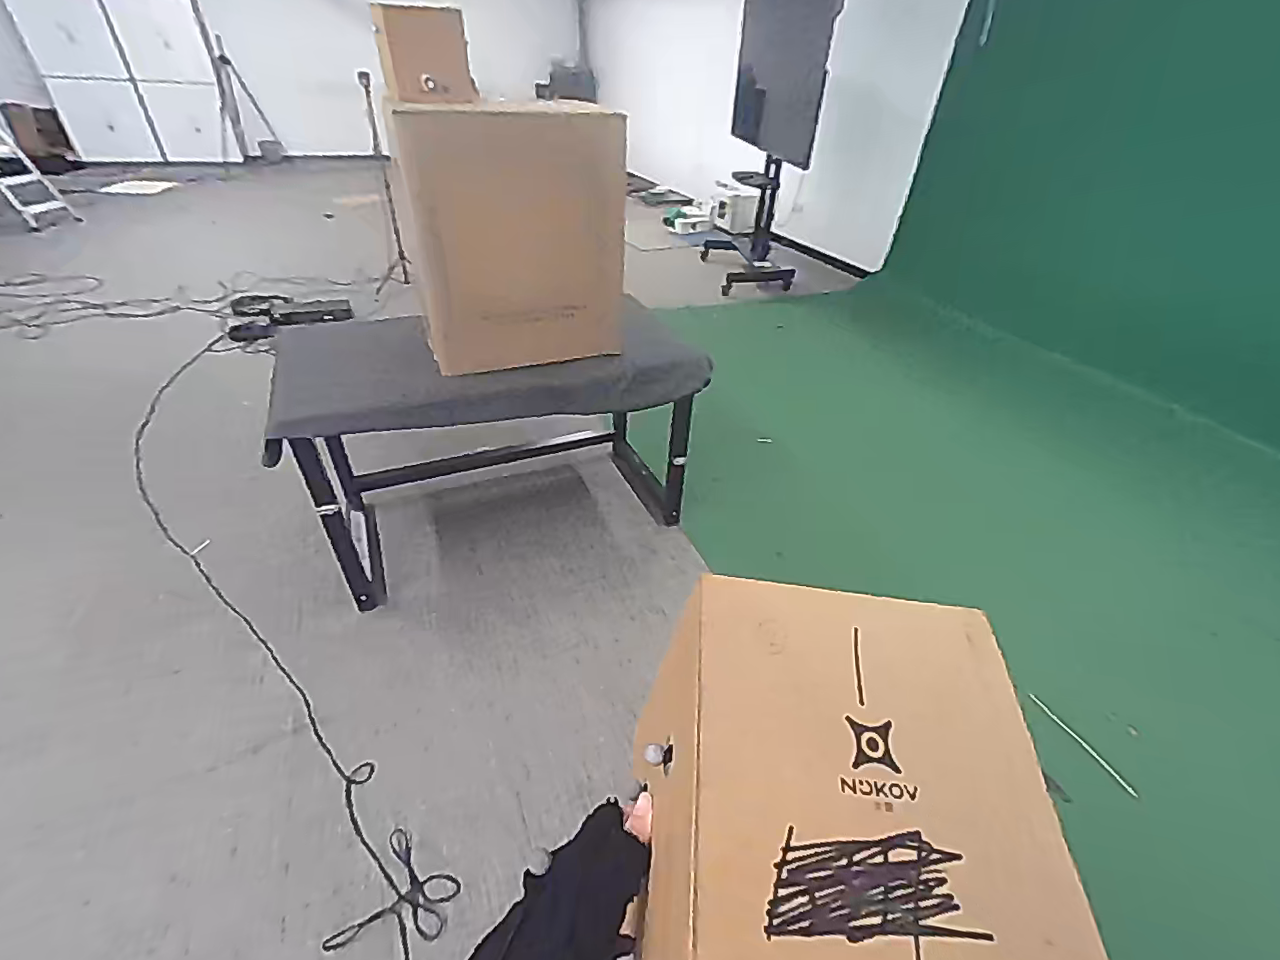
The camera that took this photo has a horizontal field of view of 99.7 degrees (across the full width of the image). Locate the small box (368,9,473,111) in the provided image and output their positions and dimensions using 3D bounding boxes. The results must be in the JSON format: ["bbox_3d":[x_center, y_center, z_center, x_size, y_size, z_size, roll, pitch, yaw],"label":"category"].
[{"bbox_3d":[-0.490,-0.939,1.211,0.168,0.176,0.179,-19,46,-21],"label":"small box"}]

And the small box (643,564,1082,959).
[{"bbox_3d":[0.094,0.174,0.322,0.168,0.176,0.179,7,51,-2],"label":"small box"}]
